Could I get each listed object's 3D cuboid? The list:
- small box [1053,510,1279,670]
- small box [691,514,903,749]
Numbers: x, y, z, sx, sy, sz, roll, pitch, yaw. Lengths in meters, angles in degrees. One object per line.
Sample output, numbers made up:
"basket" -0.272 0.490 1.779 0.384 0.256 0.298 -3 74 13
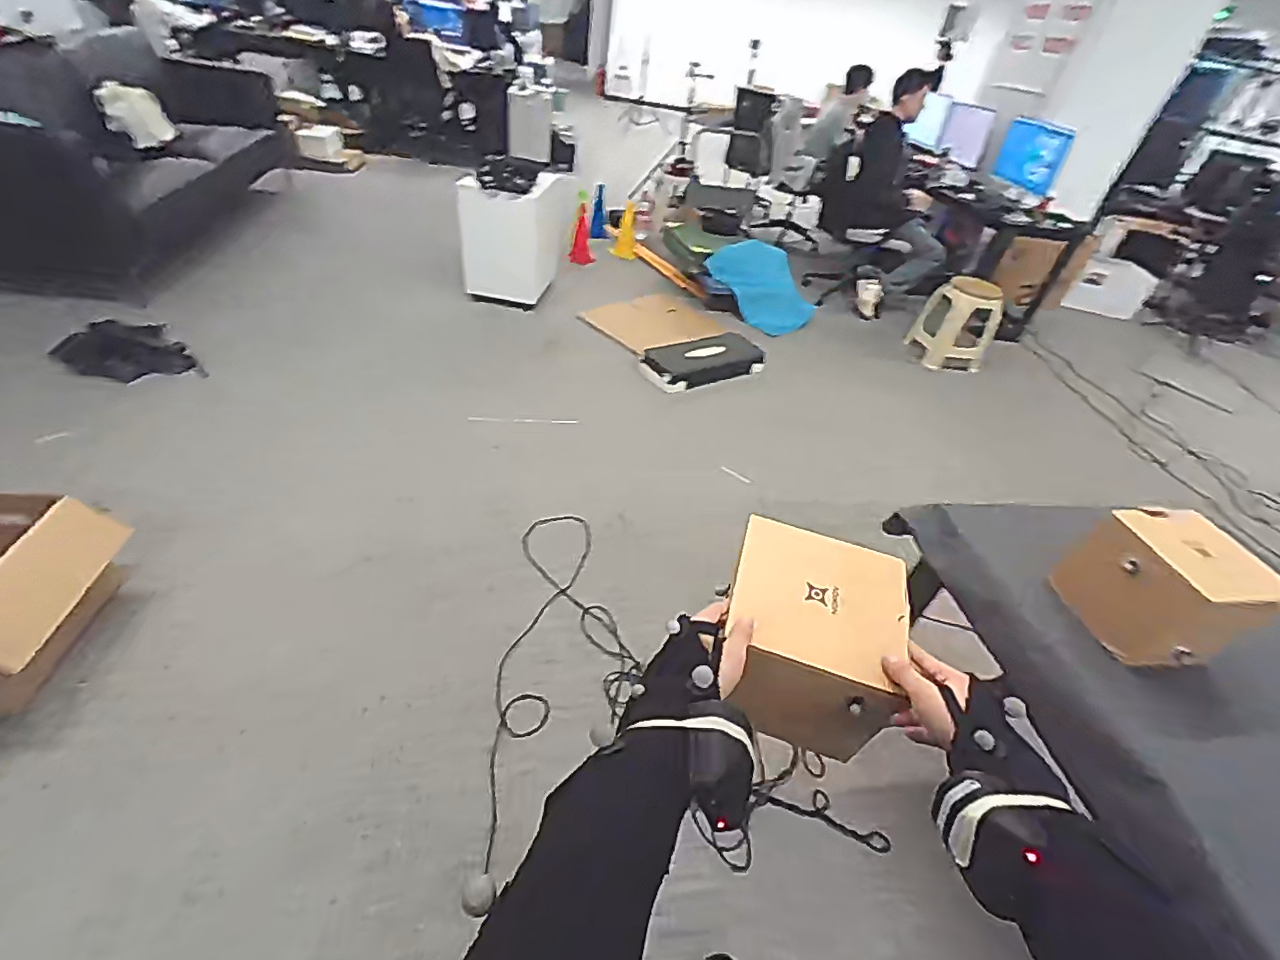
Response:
"small box" 0.791 0.164 0.819 0.168 0.176 0.179 0 43 -10
"small box" 0.165 0.170 0.601 0.179 0.176 0.168 16 45 7
